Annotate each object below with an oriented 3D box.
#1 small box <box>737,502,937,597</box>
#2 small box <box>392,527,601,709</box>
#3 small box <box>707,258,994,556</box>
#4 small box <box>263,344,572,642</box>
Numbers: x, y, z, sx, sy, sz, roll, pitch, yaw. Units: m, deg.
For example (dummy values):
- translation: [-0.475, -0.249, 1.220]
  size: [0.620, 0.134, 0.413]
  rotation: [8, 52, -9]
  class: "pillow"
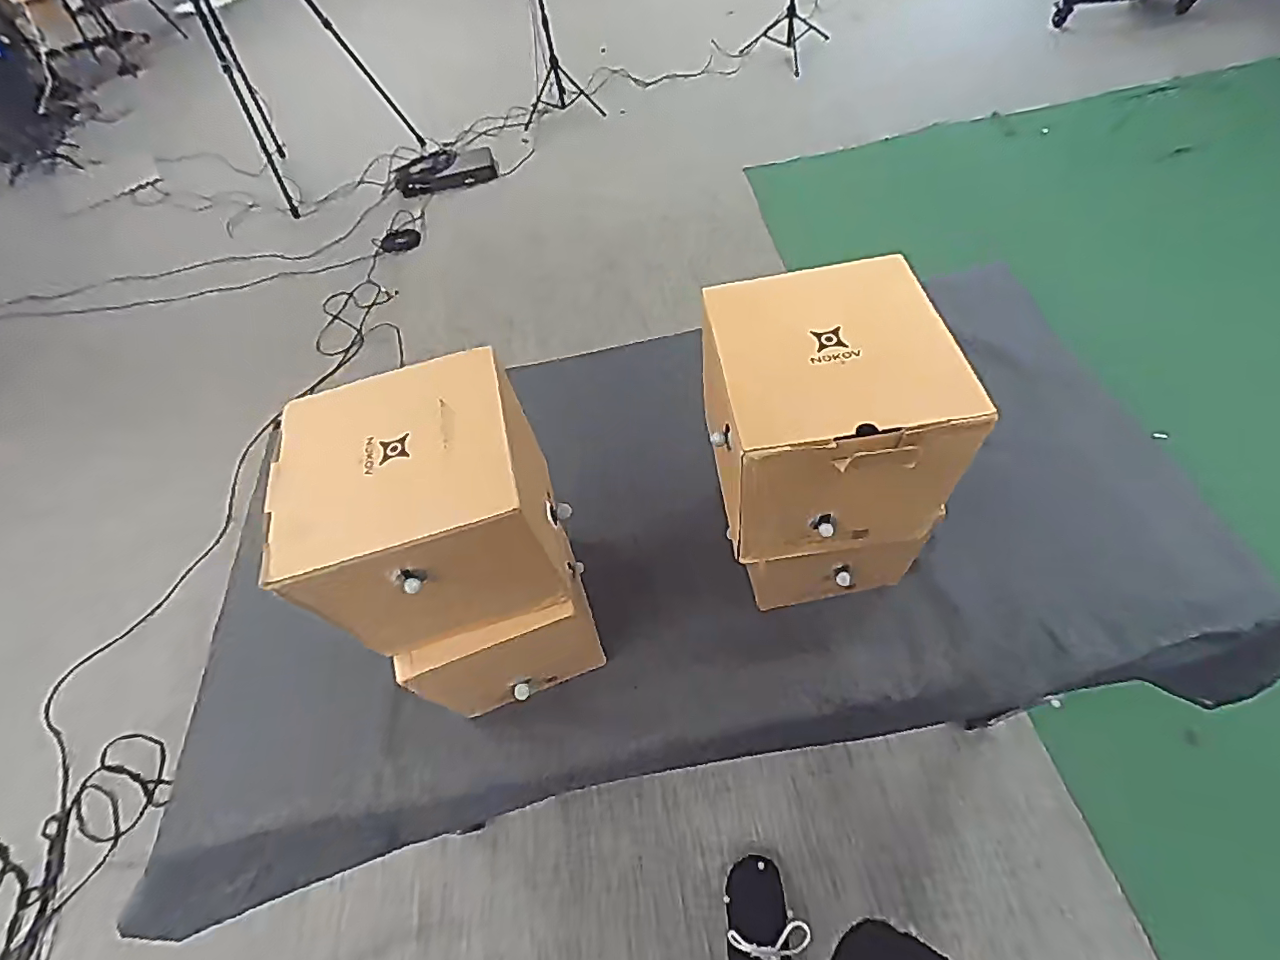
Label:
- translation: [0.192, 0.019, 0.606]
  size: [0.168, 0.176, 0.179]
  rotation: [-11, 56, 1]
  class: "small box"
- translation: [-0.152, 0.122, 0.587]
  size: [0.168, 0.176, 0.179]
  rotation: [-20, 57, -5]
  class: "small box"
- translation: [0.150, -0.056, 0.464]
  size: [0.168, 0.176, 0.179]
  rotation: [-9, 56, 3]
  class: "small box"
- translation: [-0.171, 0.020, 0.461]
  size: [0.179, 0.176, 0.168]
  rotation: [-16, 57, -4]
  class: "small box"
